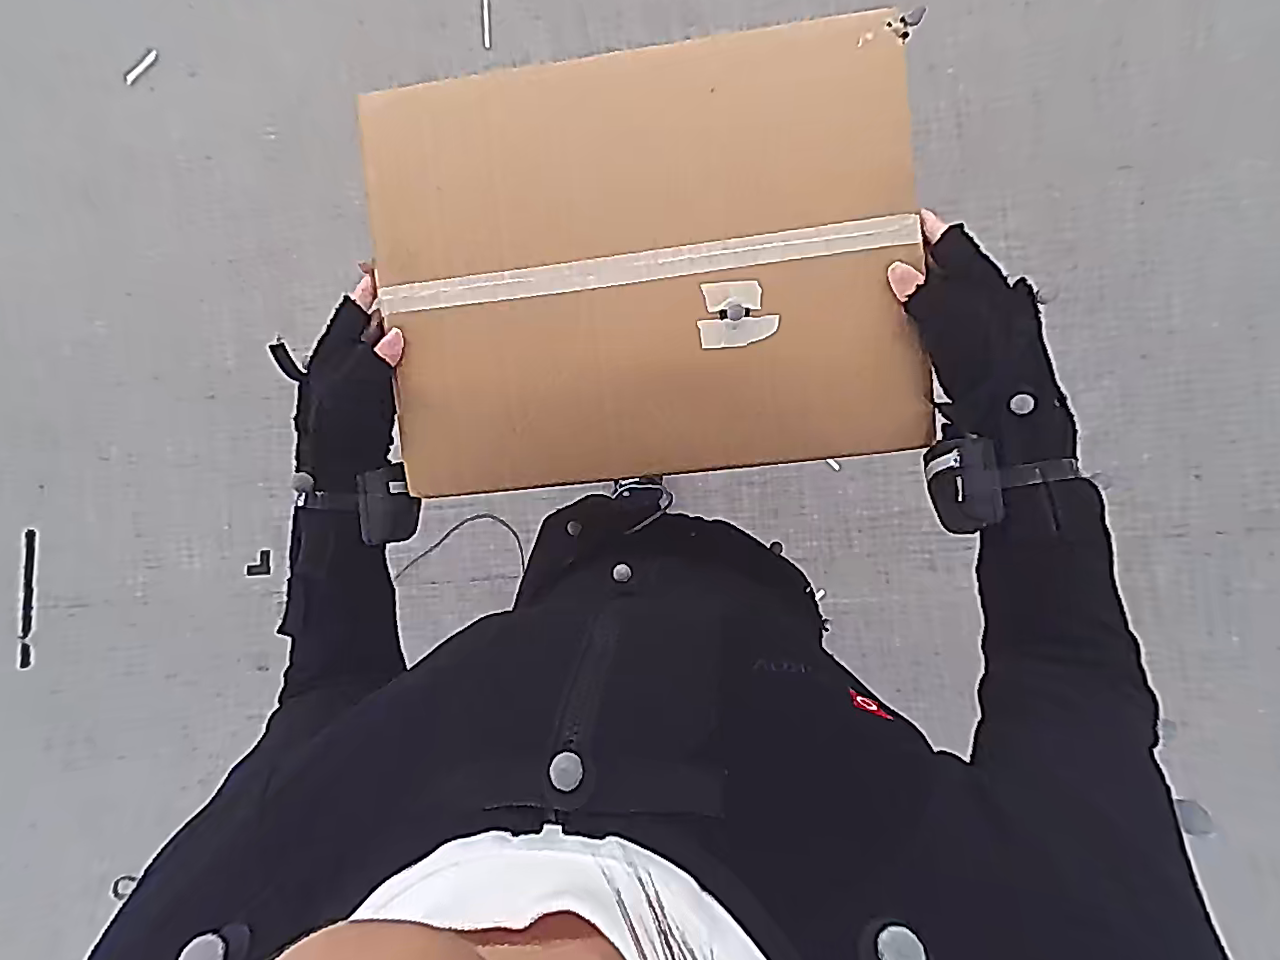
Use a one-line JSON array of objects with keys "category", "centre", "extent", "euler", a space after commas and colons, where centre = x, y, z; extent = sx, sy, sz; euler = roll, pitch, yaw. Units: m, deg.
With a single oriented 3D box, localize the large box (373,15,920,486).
[{"category": "large box", "centre": [0.009, -0.178, 0.568], "extent": [0.408, 0.320, 0.320], "euler": [-6, 94, 4]}]
